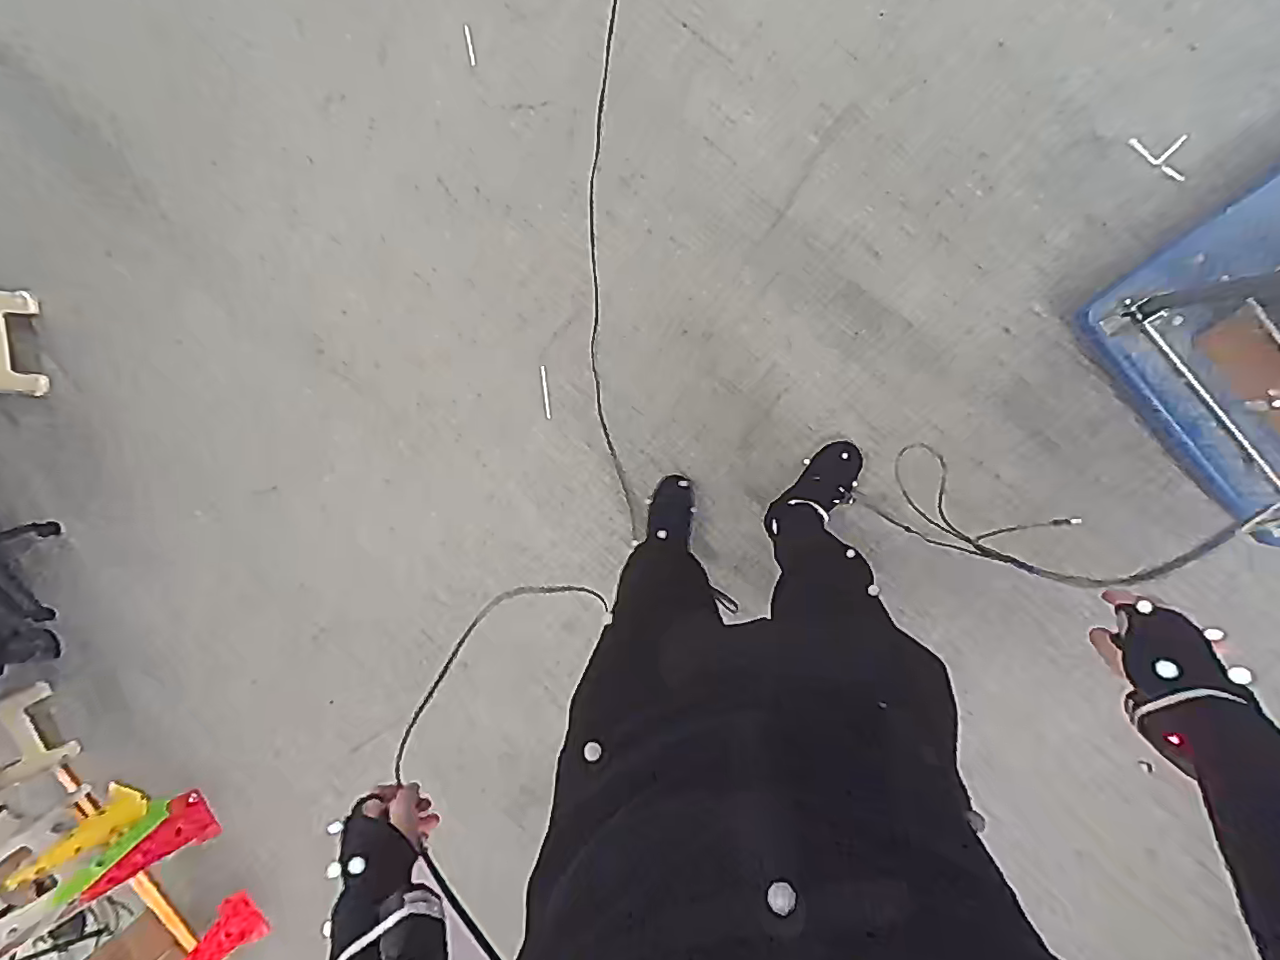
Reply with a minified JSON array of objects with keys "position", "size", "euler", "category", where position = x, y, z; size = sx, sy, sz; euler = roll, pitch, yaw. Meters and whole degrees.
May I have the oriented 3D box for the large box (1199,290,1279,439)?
[{"position":[1.188,-0.223,0.758],"size":[0.408,0.320,0.320],"euler":[-40,88,17],"category":"large box"}]
